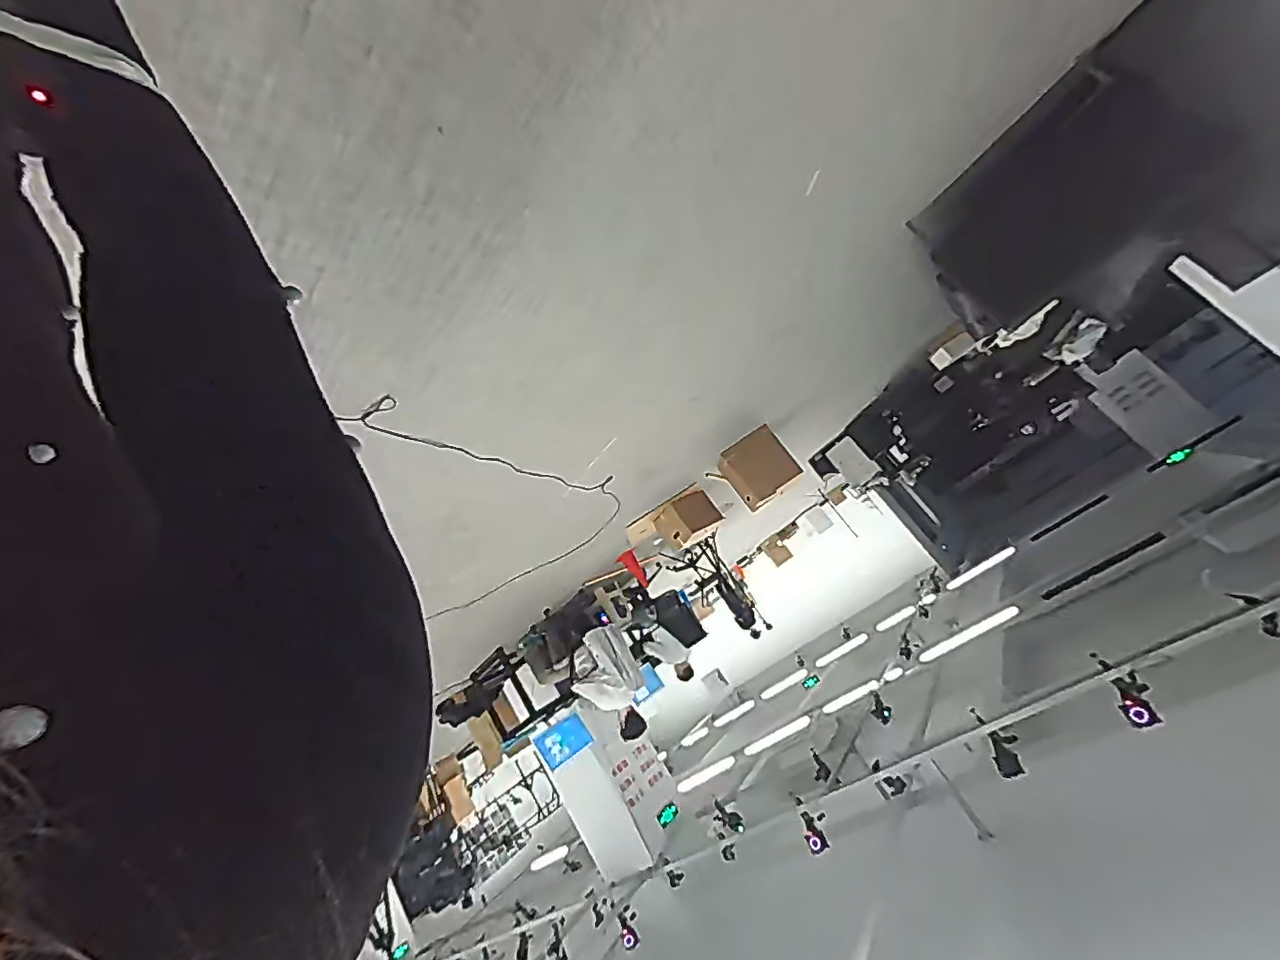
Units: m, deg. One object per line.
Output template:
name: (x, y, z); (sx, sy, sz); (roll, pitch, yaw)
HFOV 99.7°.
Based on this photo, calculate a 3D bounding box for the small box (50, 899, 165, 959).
small box: (-1.319, 1.188, 1.337); (0.179, 0.176, 0.168); (-45, 161, 29)
